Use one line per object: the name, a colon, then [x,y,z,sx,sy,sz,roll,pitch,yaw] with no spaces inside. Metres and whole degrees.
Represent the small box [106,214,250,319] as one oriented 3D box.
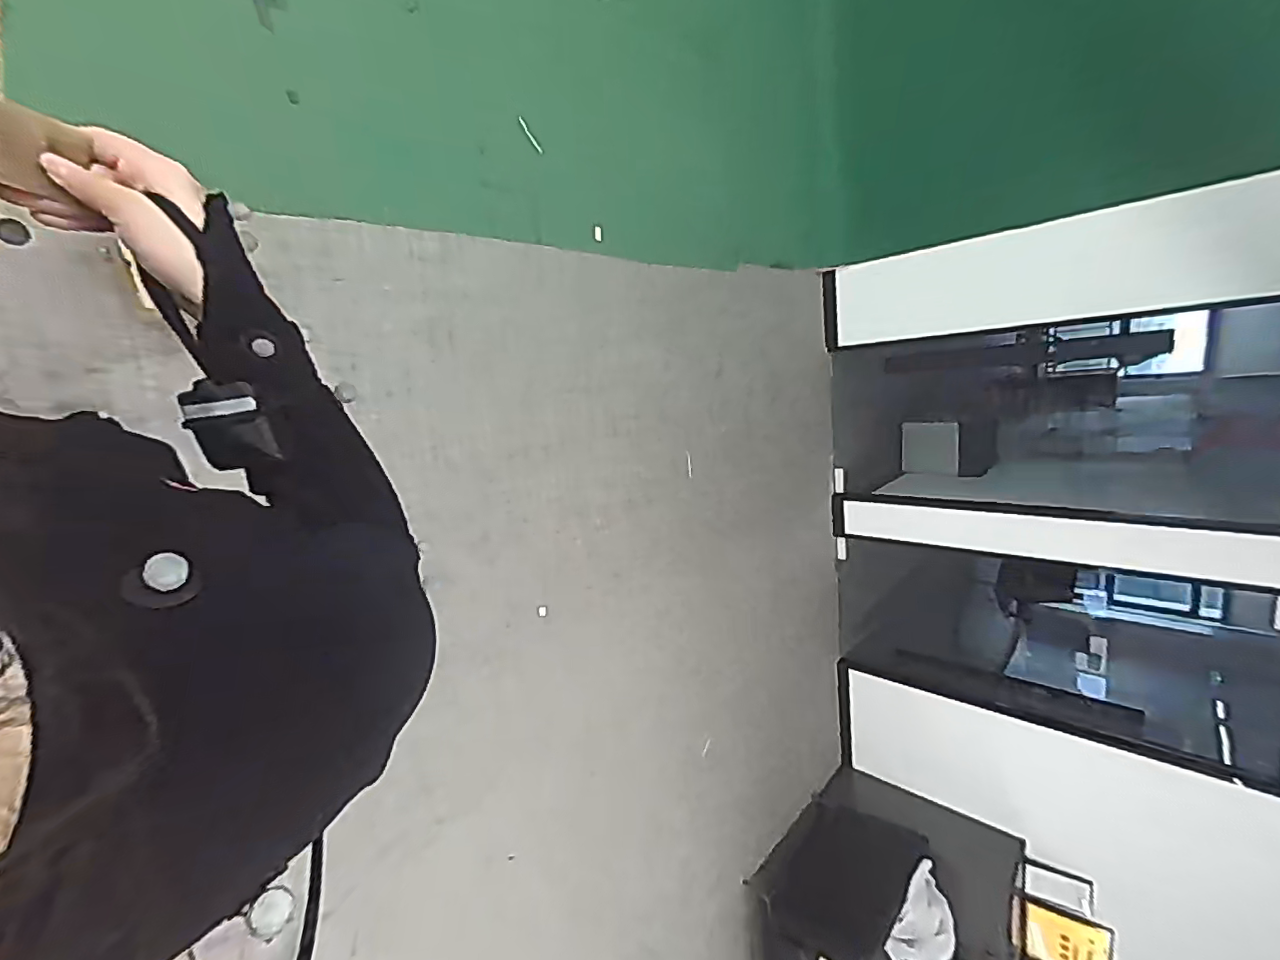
small box: [-0.931,-0.426,1.090,0.179,0.176,0.168,-26,113,-43]
